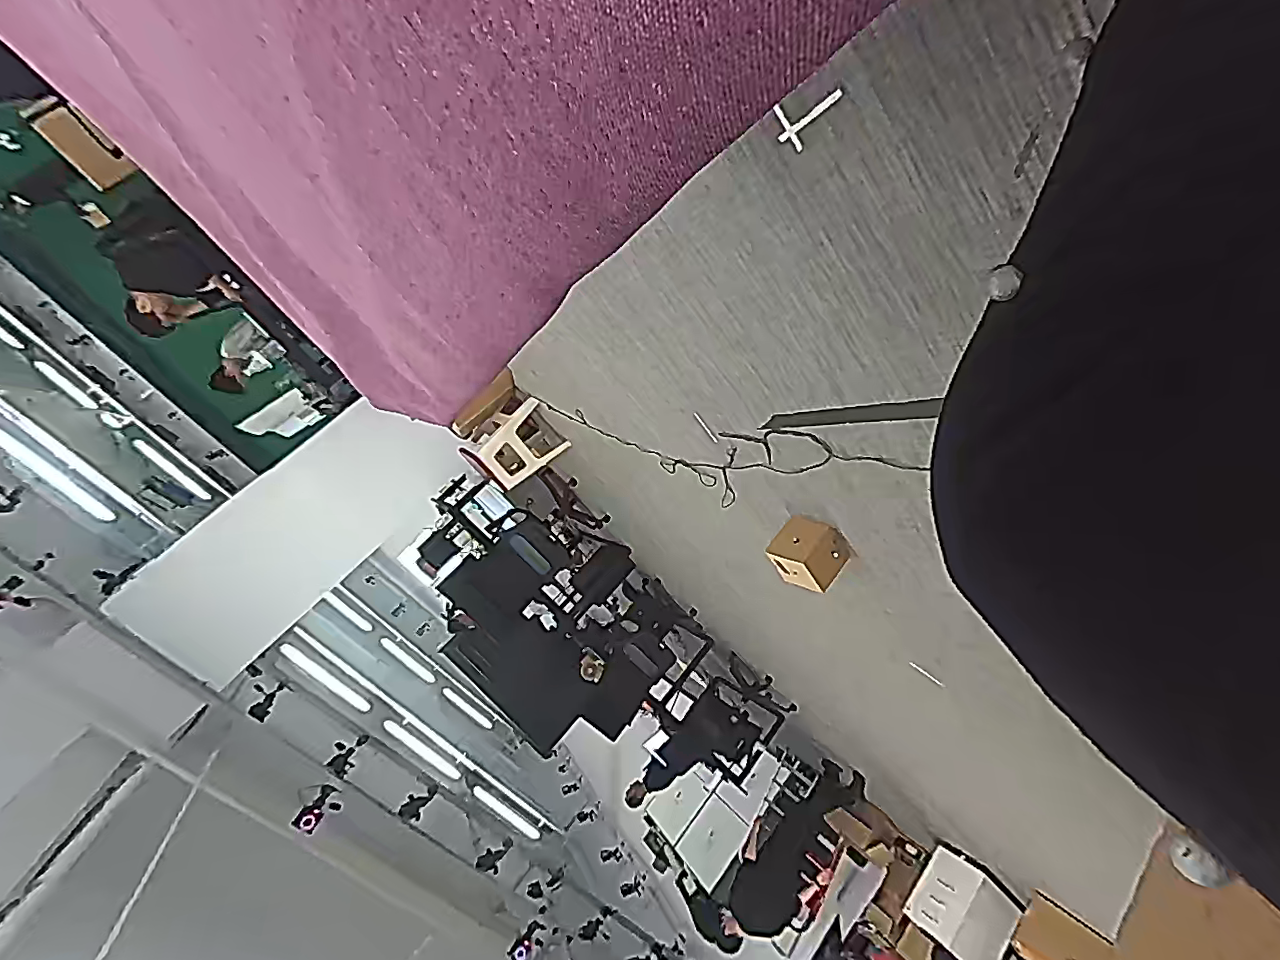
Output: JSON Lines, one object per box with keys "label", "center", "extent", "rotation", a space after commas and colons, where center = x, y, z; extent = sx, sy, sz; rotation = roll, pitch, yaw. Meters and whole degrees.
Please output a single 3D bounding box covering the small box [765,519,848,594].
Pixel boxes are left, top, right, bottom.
{"label": "small box", "center": [0.567, 0.251, 1.834], "extent": [0.168, 0.176, 0.179], "rotation": [51, 160, -26]}
